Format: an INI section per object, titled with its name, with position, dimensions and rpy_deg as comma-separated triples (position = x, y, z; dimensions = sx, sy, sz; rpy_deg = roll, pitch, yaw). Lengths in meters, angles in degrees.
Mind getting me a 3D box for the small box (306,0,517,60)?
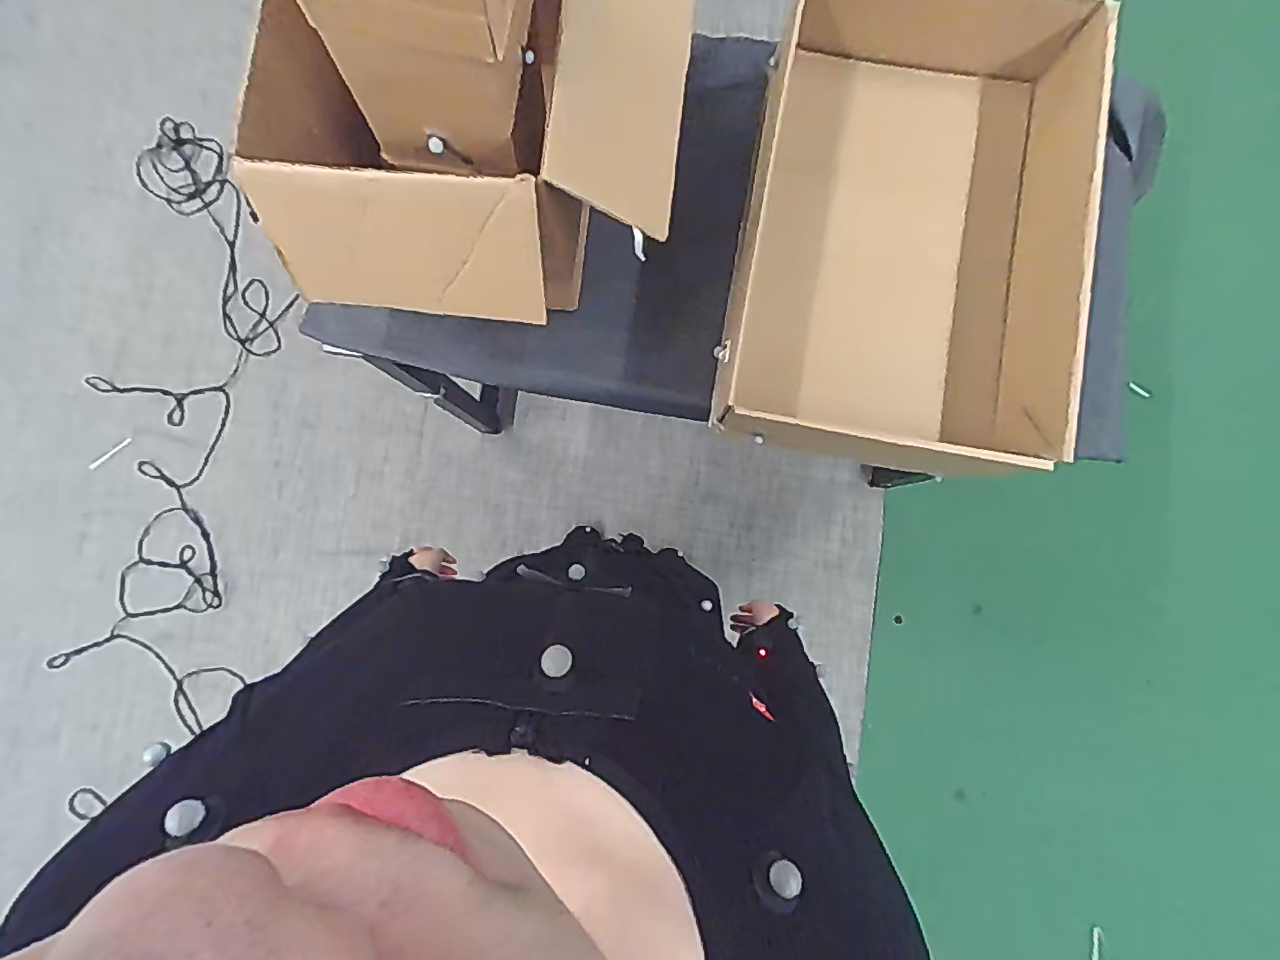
[small box]
position = -0.195, -0.485, 0.428
dimensions = 0.179, 0.176, 0.168
rpy_deg = 9, 82, -4
